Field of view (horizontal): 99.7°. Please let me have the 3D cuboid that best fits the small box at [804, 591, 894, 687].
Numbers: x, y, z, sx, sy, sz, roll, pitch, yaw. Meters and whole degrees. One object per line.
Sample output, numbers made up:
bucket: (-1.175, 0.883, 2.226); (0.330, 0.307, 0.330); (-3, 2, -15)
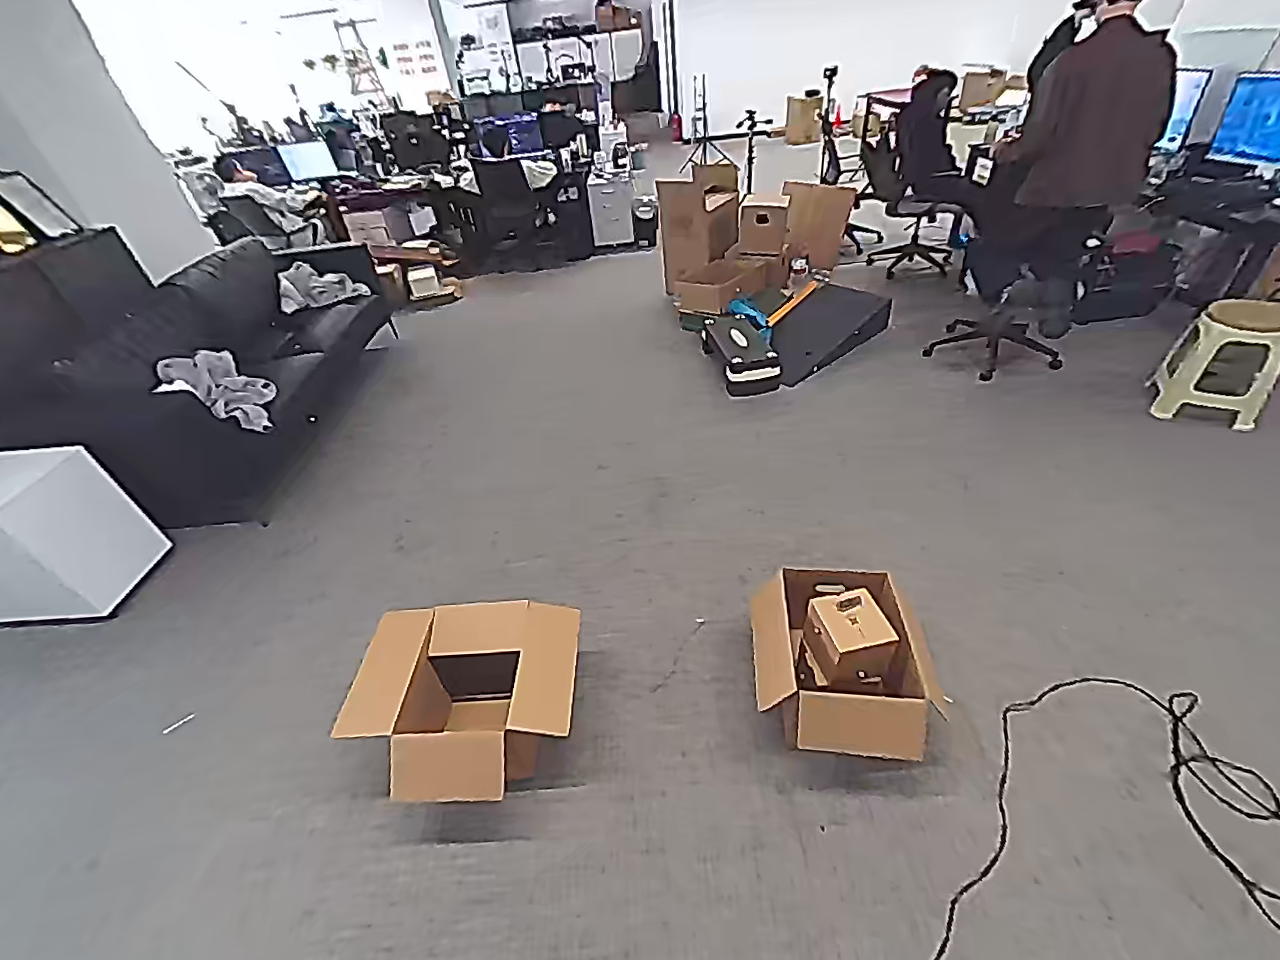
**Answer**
small box: (0.561, 0.433, 1.477); (0.168, 0.176, 0.179); (-9, 38, -2)
